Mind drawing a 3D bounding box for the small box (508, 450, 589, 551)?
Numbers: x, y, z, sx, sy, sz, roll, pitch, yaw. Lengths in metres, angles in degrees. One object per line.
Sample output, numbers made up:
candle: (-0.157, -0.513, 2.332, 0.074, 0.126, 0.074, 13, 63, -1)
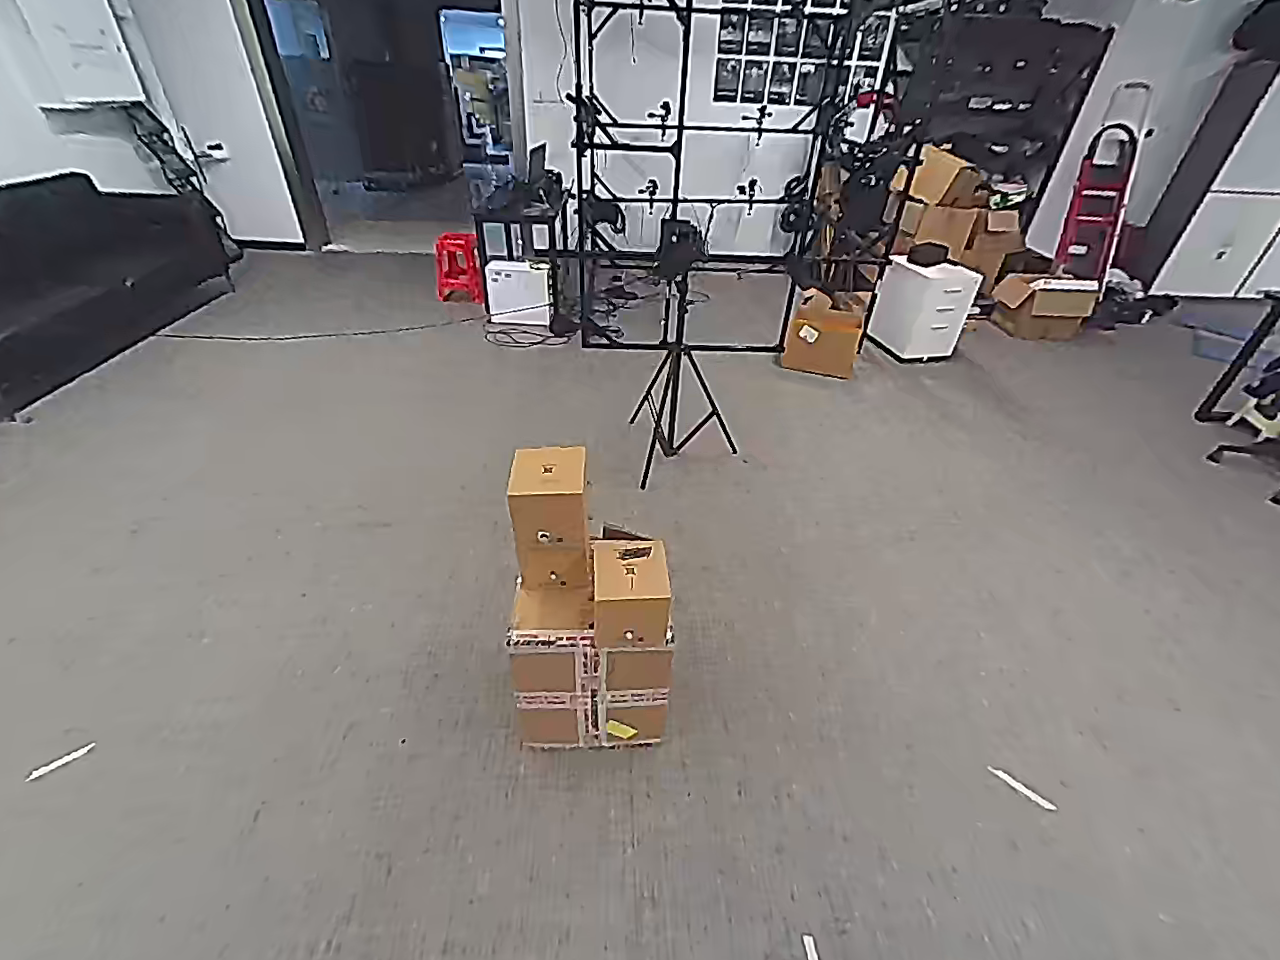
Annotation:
small box: (-0.207, 0.046, 1.266, 0.168, 0.176, 0.179, -2, 39, -3)

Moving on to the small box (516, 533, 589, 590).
small box: (-0.217, 0.161, 1.383, 0.168, 0.176, 0.179, -1, 39, -3)

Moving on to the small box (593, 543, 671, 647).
small box: (-0.025, 0.266, 1.259, 0.168, 0.176, 0.179, -1, 39, -5)
